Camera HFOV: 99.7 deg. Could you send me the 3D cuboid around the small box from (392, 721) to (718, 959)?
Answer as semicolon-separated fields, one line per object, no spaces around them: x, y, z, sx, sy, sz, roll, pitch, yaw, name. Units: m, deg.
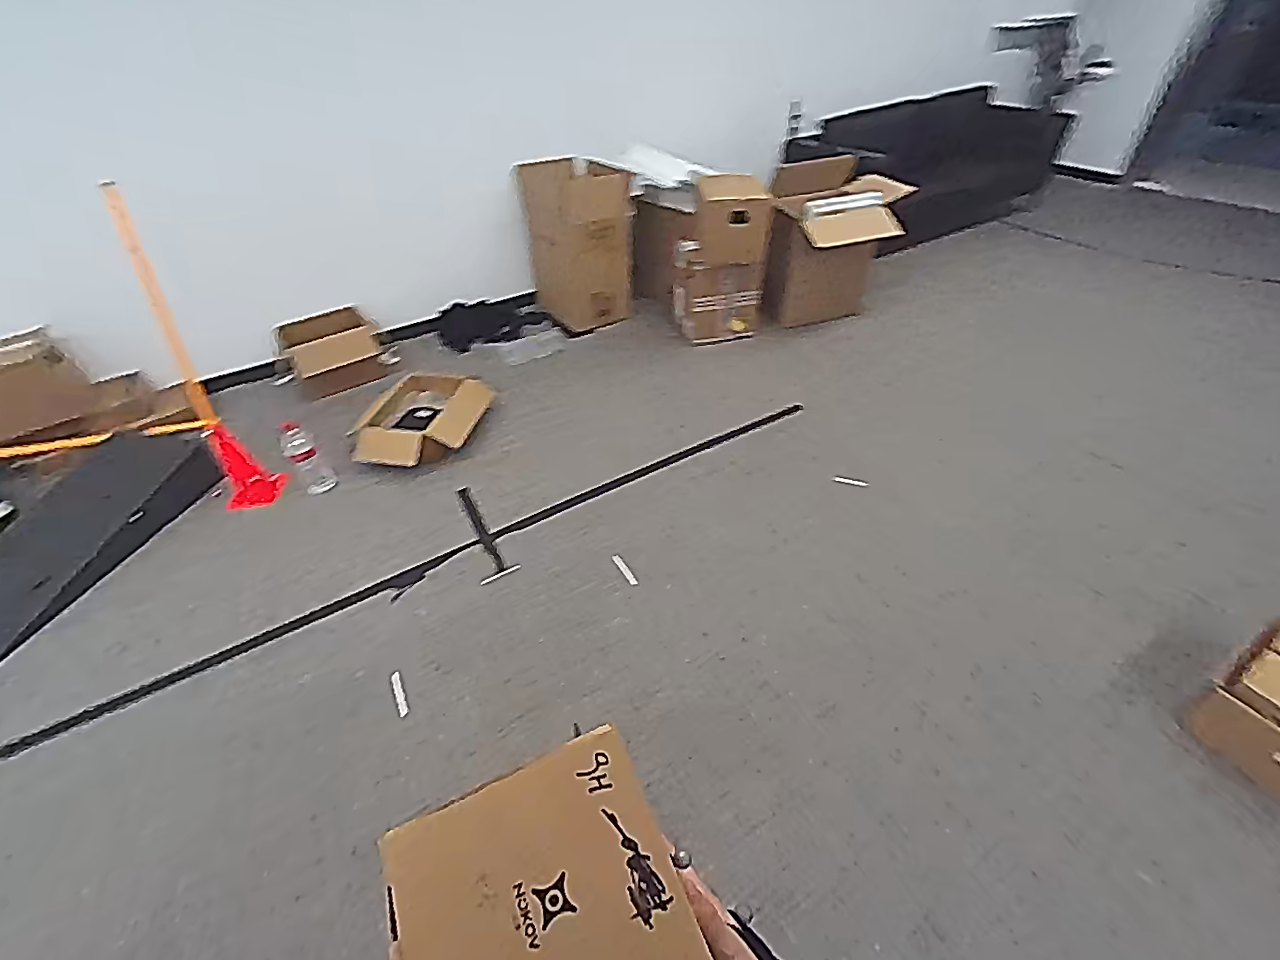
-0.058;0.315;0.410;0.179;0.176;0.168;-20;58;-14;small box
